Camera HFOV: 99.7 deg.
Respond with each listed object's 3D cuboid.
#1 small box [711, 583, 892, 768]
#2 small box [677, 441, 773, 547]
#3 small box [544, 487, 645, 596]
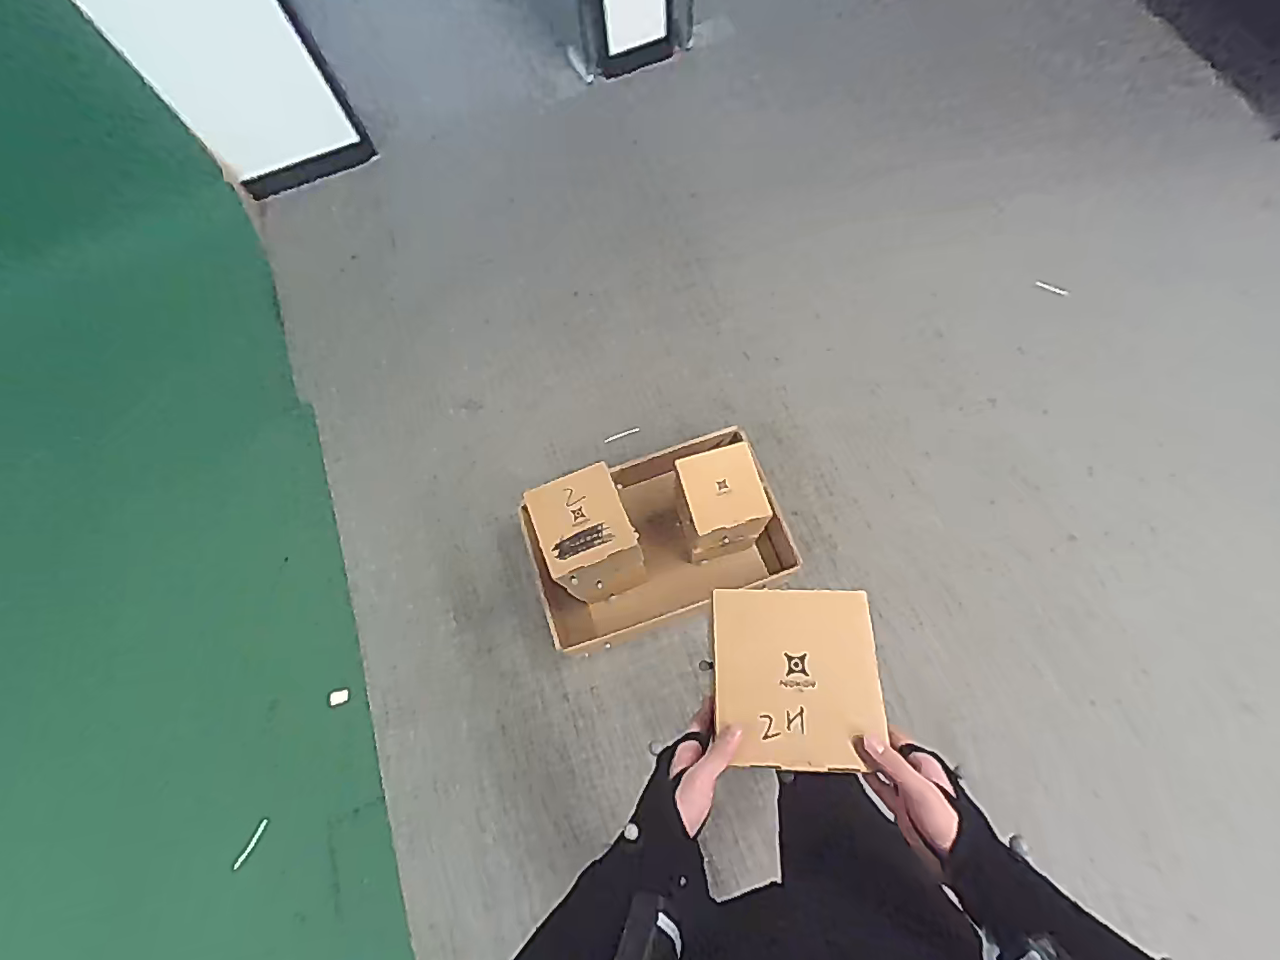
[{"bbox_3d":[0.168,0.228,0.624,0.168,0.176,0.179,0,64,6],"label":"small box"},{"bbox_3d":[0.183,0.037,1.227,0.168,0.176,0.179,-15,73,-2],"label":"small box"},{"bbox_3d":[-0.096,0.143,1.208,0.168,0.176,0.179,-22,71,-1],"label":"small box"}]
